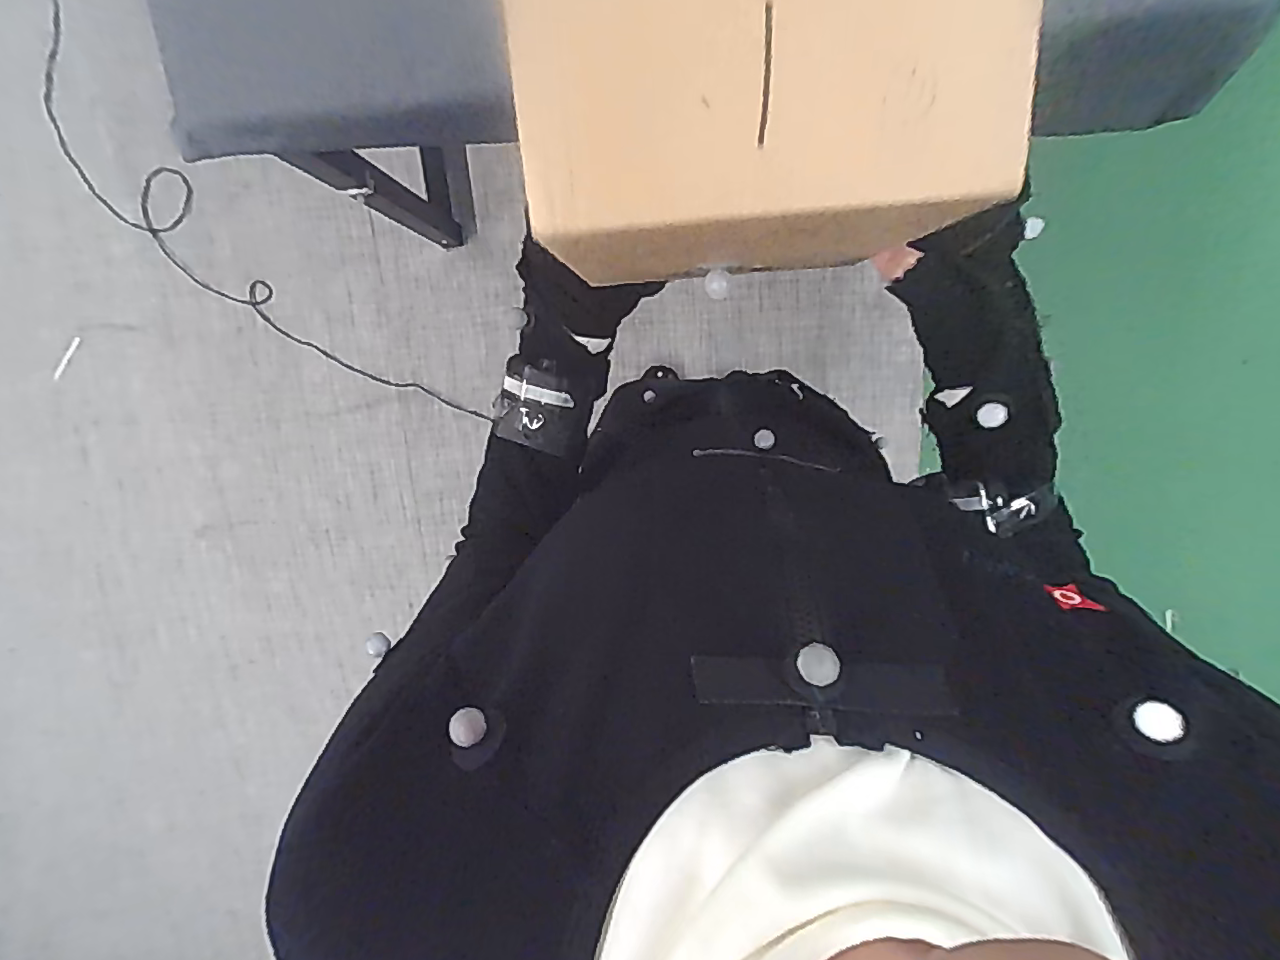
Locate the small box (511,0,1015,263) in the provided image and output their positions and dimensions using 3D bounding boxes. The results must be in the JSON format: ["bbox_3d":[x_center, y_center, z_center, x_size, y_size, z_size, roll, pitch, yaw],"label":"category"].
[{"bbox_3d":[0.040,-0.209,0.247,0.168,0.176,0.179,-2,104,4],"label":"small box"}]
